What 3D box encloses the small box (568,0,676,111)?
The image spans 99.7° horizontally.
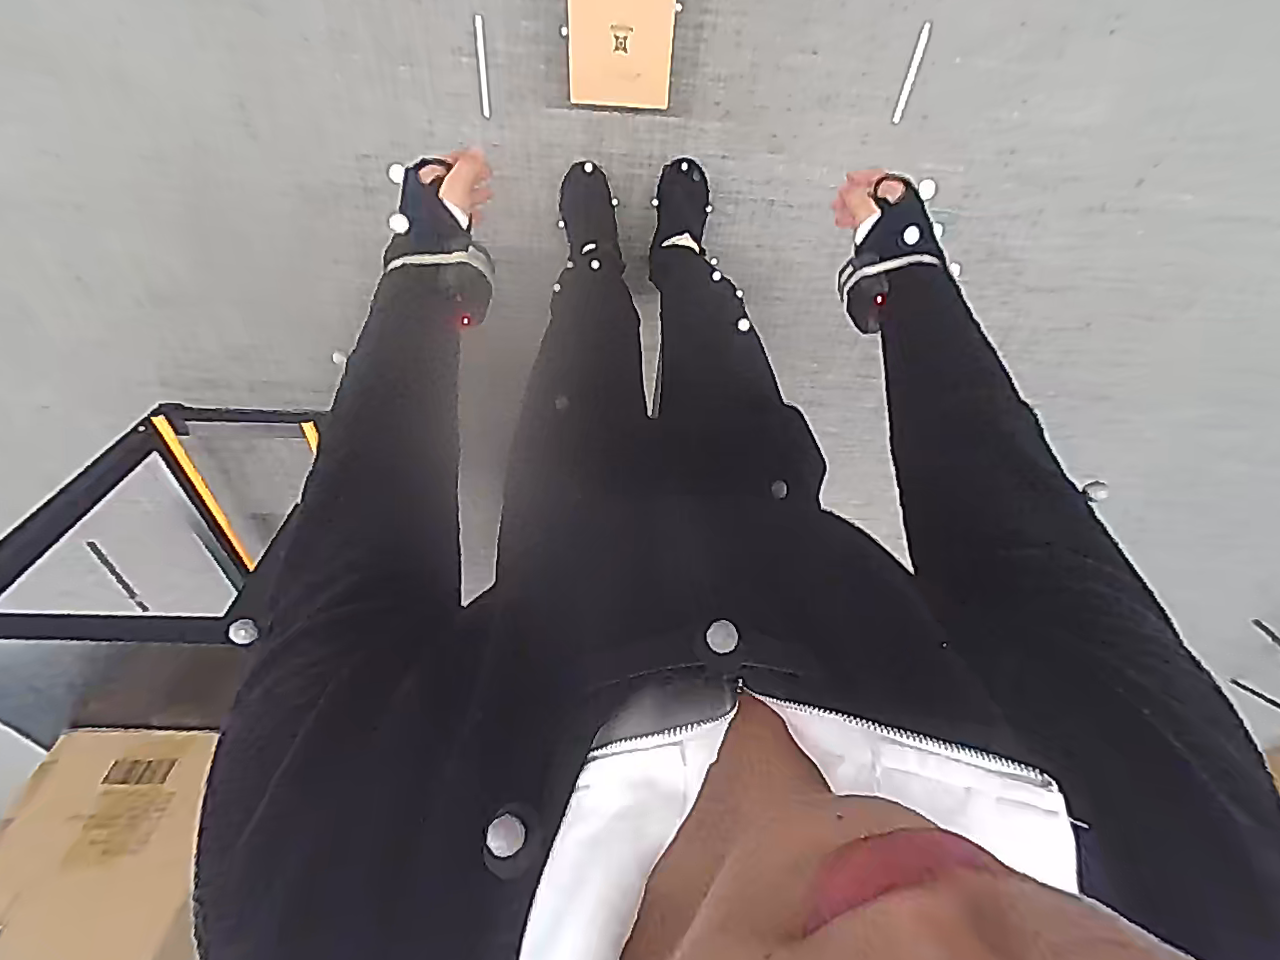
[{"bbox_3d":[-0.033,-0.740,0.904,0.168,0.176,0.179,2,133,-2],"label":"small box"}]
